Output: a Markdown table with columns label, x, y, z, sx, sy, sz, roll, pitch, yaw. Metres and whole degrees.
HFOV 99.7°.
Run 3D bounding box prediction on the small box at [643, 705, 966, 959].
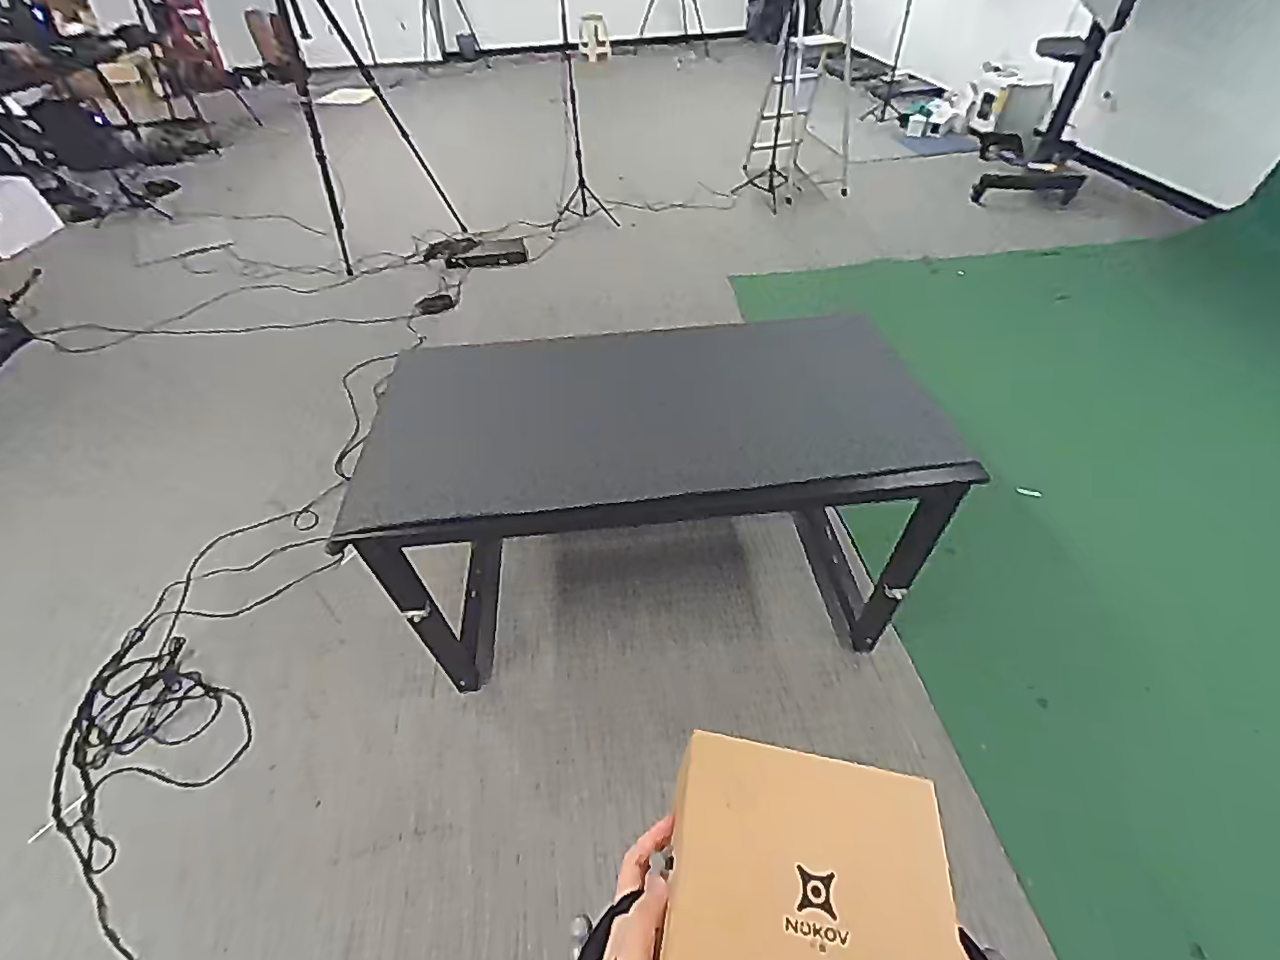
| label | x | y | z | sx | sy | sz | roll | pitch | yaw |
| --- | --- | --- | --- | --- | --- | --- | --- | --- | --- |
| small box | 0.095 | 0.288 | 0.370 | 0.168 | 0.176 | 0.179 | 10 | 46 | 6 |
